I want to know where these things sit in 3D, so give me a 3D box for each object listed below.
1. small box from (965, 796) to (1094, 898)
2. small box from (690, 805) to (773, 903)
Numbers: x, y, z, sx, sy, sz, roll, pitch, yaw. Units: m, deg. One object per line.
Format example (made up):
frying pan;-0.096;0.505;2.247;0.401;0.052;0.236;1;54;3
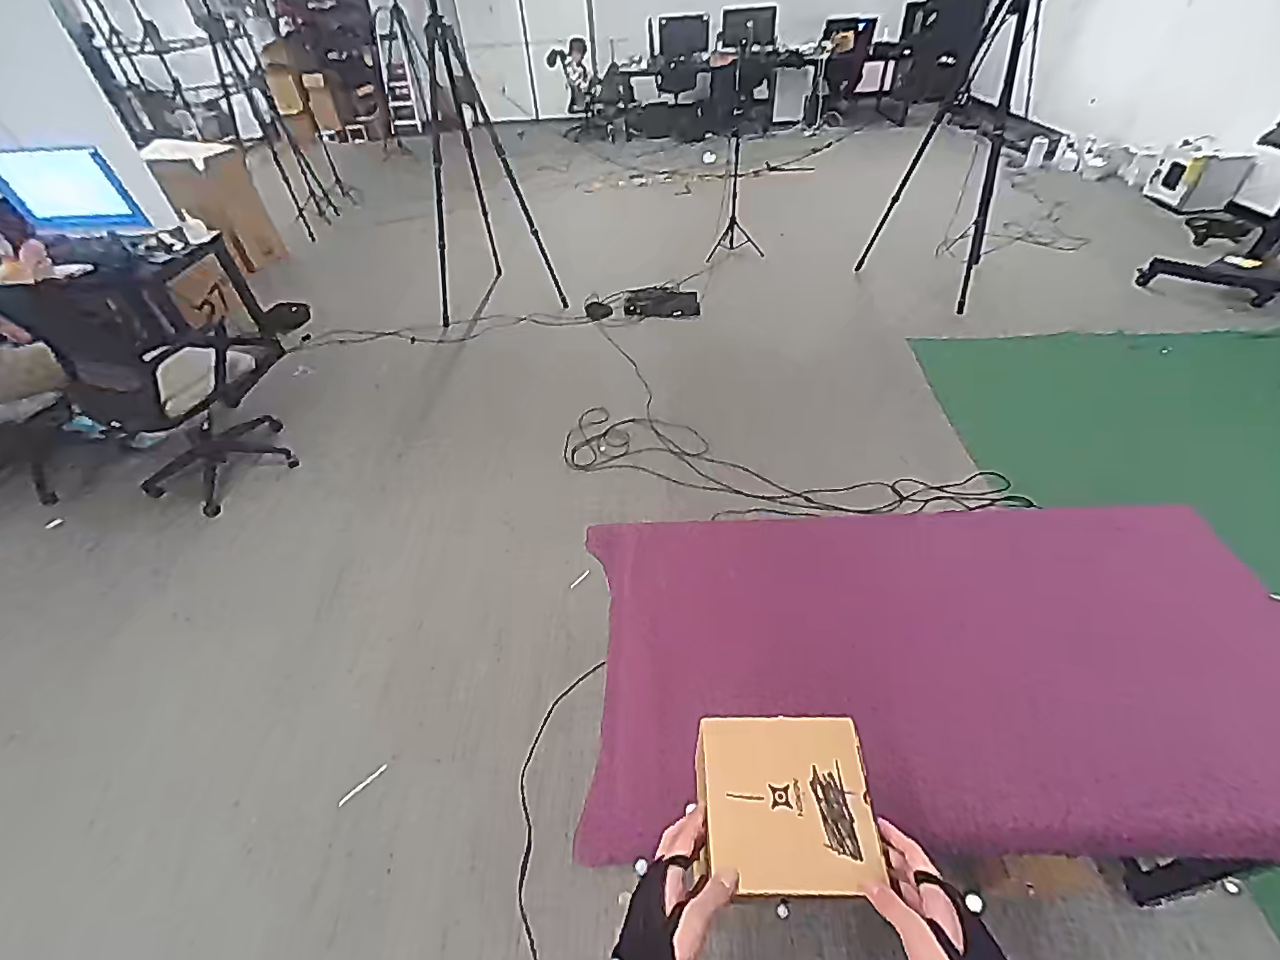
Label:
small box;0.888;0.857;1.261;0.179;0.176;0.168;-1;44;5
small box;0.212;0.894;1.289;0.179;0.176;0.168;-2;43;3
